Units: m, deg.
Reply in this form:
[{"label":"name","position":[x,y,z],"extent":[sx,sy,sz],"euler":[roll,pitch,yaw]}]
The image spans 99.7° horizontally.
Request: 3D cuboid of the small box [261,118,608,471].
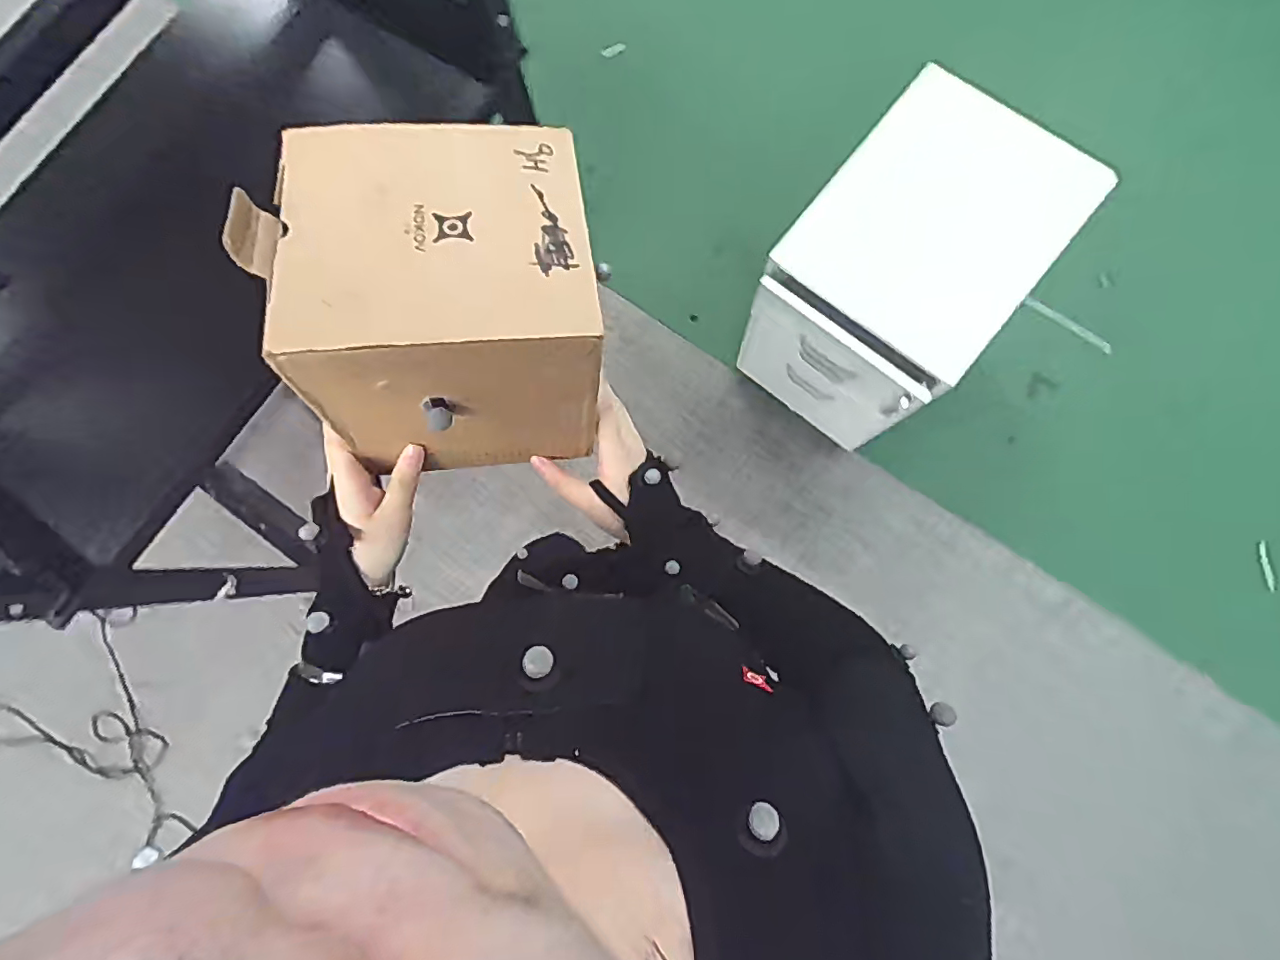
[{"label":"small box","position":[-0.119,-0.115,0.378],"extent":[0.179,0.176,0.168],"euler":[-6,70,-8]}]
